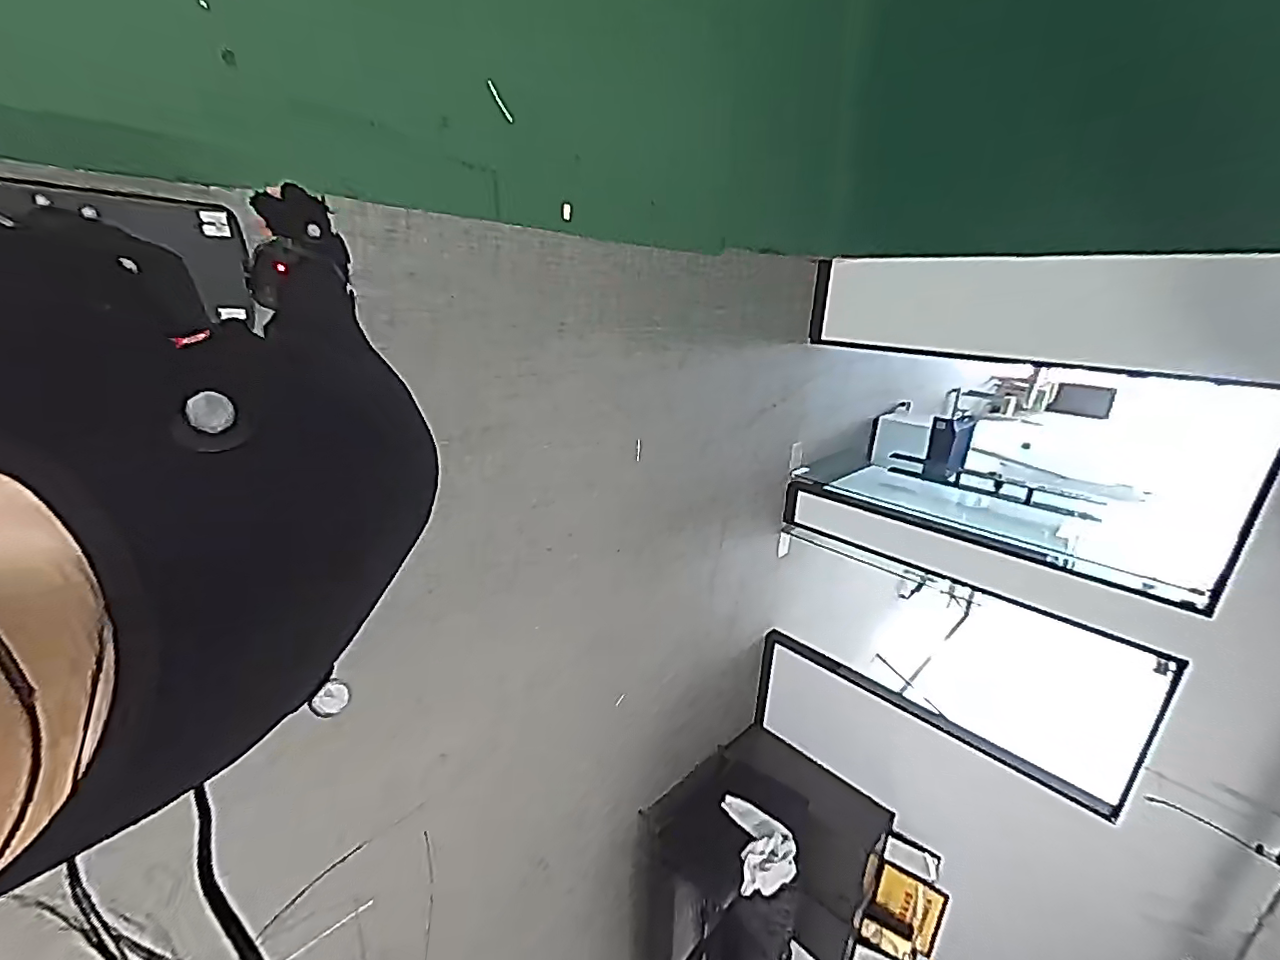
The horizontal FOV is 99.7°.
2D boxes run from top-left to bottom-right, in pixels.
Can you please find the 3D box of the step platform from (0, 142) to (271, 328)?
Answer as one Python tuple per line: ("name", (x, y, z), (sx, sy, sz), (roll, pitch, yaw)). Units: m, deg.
("step platform", (-1.026, -0.398, 0.875), (0.684, 0.204, 0.286), (-15, 117, -42))
